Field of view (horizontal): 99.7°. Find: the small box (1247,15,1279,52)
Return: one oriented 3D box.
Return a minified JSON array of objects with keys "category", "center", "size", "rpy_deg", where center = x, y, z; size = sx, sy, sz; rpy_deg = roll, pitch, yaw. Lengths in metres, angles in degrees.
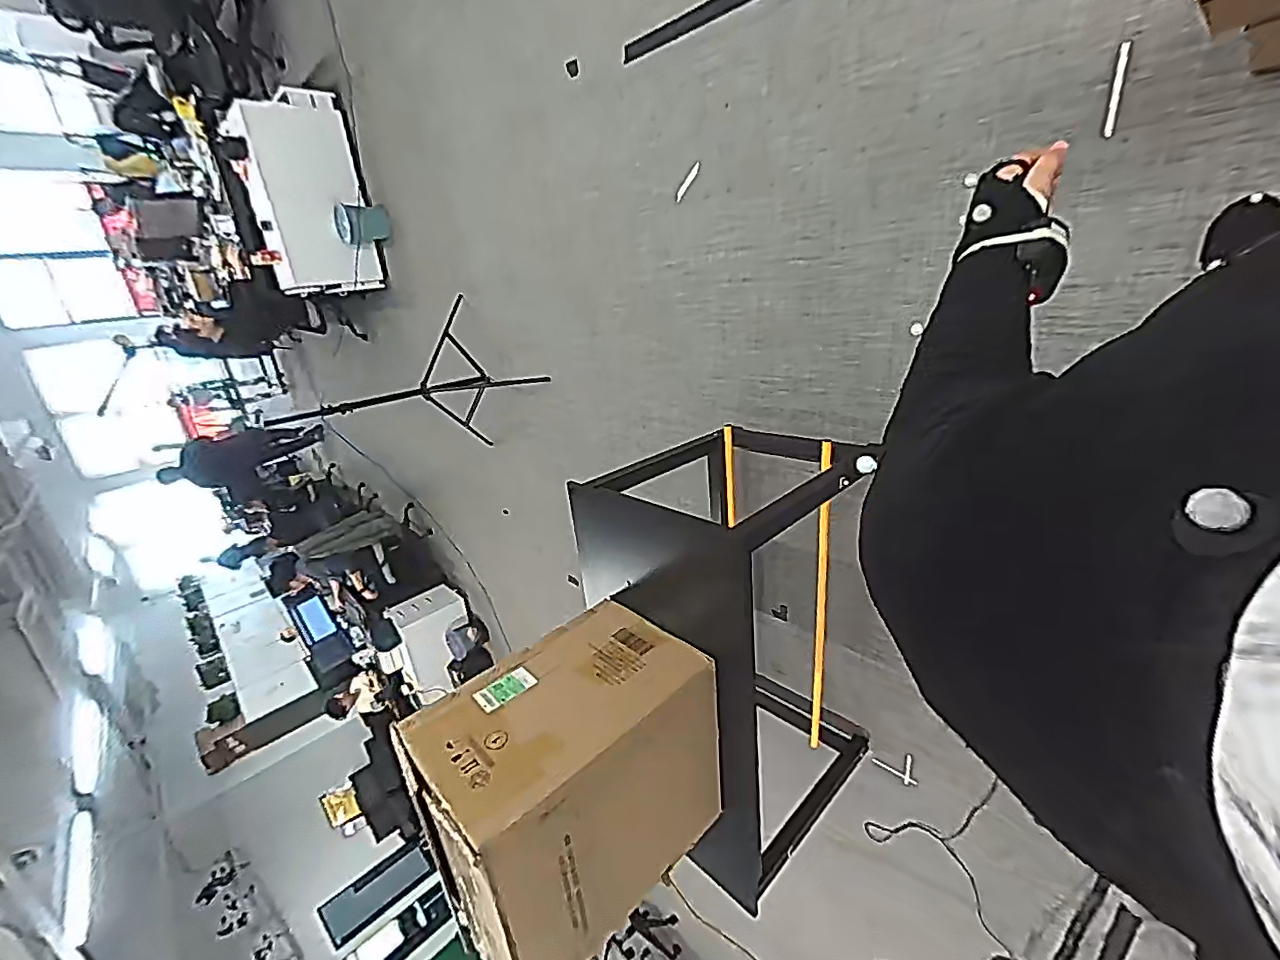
[{"category":"small box","center":[0.778,-0.599,0.570],"size":[0.168,0.176,0.179],"rpy_deg":[9,115,49]}]

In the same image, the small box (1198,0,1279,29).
[{"category":"small box","center":[0.644,-0.550,0.486],"size":[0.179,0.176,0.168],"rpy_deg":[10,116,47]}]

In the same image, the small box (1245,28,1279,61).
[{"category":"small box","center":[0.900,-0.651,0.670],"size":[0.168,0.176,0.179],"rpy_deg":[15,120,46]}]

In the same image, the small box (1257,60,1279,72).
[{"category":"small box","center":[1.014,-0.719,0.767],"size":[0.168,0.176,0.179],"rpy_deg":[15,120,47]}]
